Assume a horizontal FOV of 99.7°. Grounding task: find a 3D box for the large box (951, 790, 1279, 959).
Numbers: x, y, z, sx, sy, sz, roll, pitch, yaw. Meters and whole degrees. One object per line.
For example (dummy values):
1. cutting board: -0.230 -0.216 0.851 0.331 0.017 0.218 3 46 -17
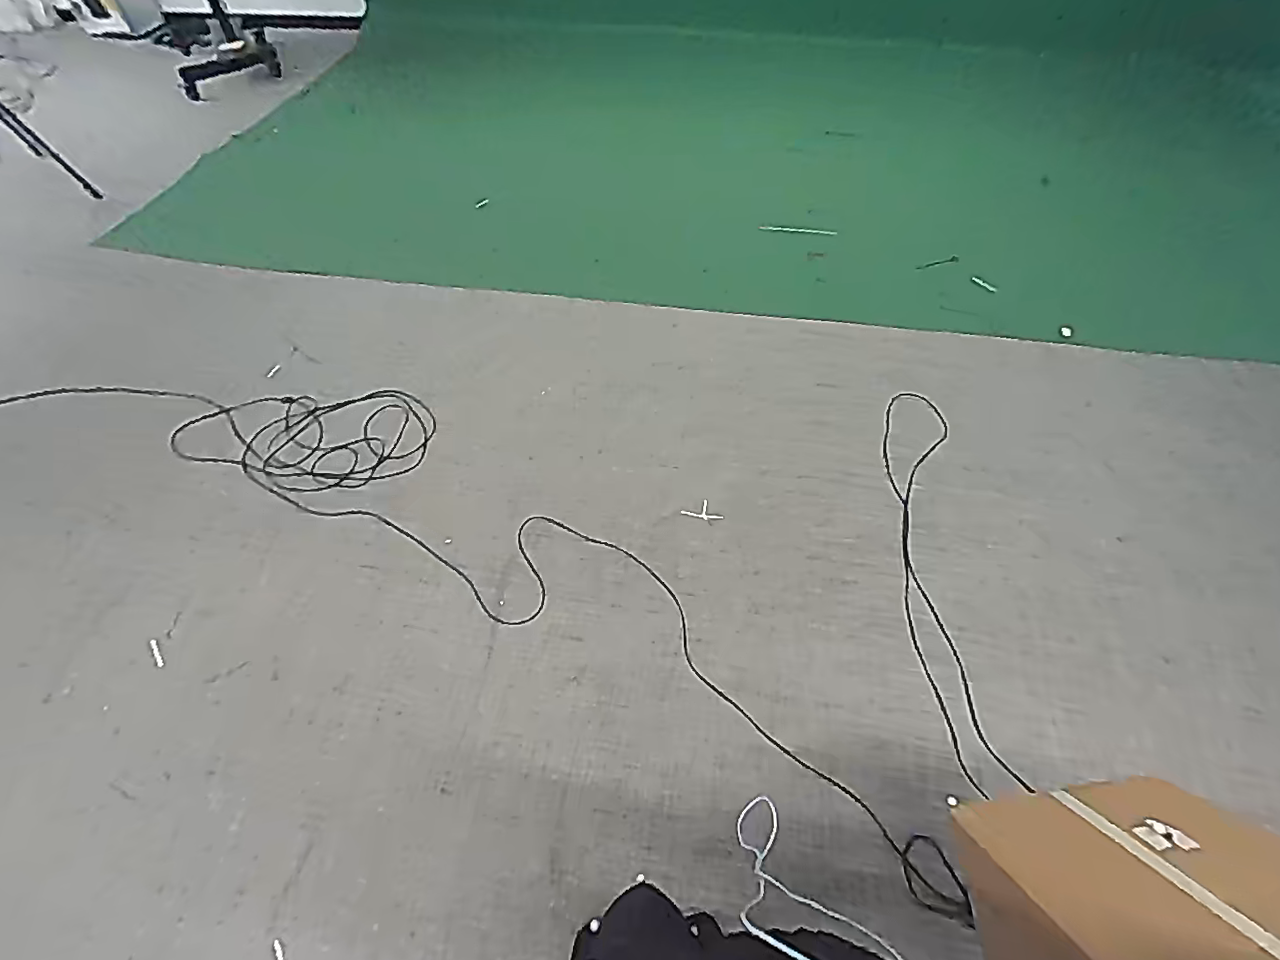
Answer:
1. large box: 0.635 0.618 0.602 0.320 0.408 0.320 -9 84 3
